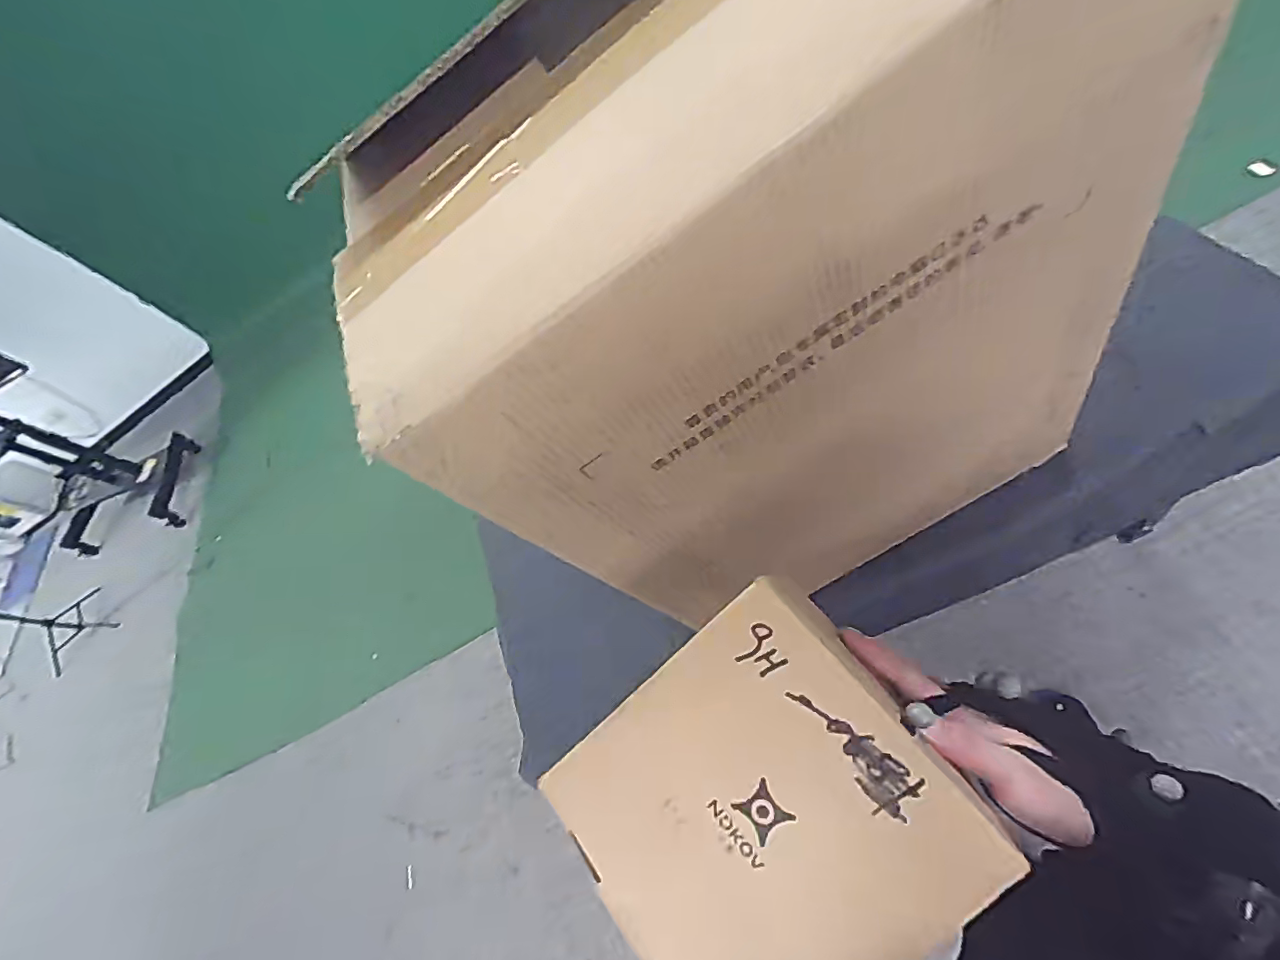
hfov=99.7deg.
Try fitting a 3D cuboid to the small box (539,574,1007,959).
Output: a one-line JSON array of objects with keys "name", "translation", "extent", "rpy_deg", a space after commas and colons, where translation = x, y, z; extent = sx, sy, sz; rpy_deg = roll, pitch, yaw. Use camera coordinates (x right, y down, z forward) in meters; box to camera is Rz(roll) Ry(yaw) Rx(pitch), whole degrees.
[{"name": "small box", "translation": [0.077, 0.178, 0.345], "extent": [0.179, 0.176, 0.168], "rpy_deg": [-44, 70, 8]}]
